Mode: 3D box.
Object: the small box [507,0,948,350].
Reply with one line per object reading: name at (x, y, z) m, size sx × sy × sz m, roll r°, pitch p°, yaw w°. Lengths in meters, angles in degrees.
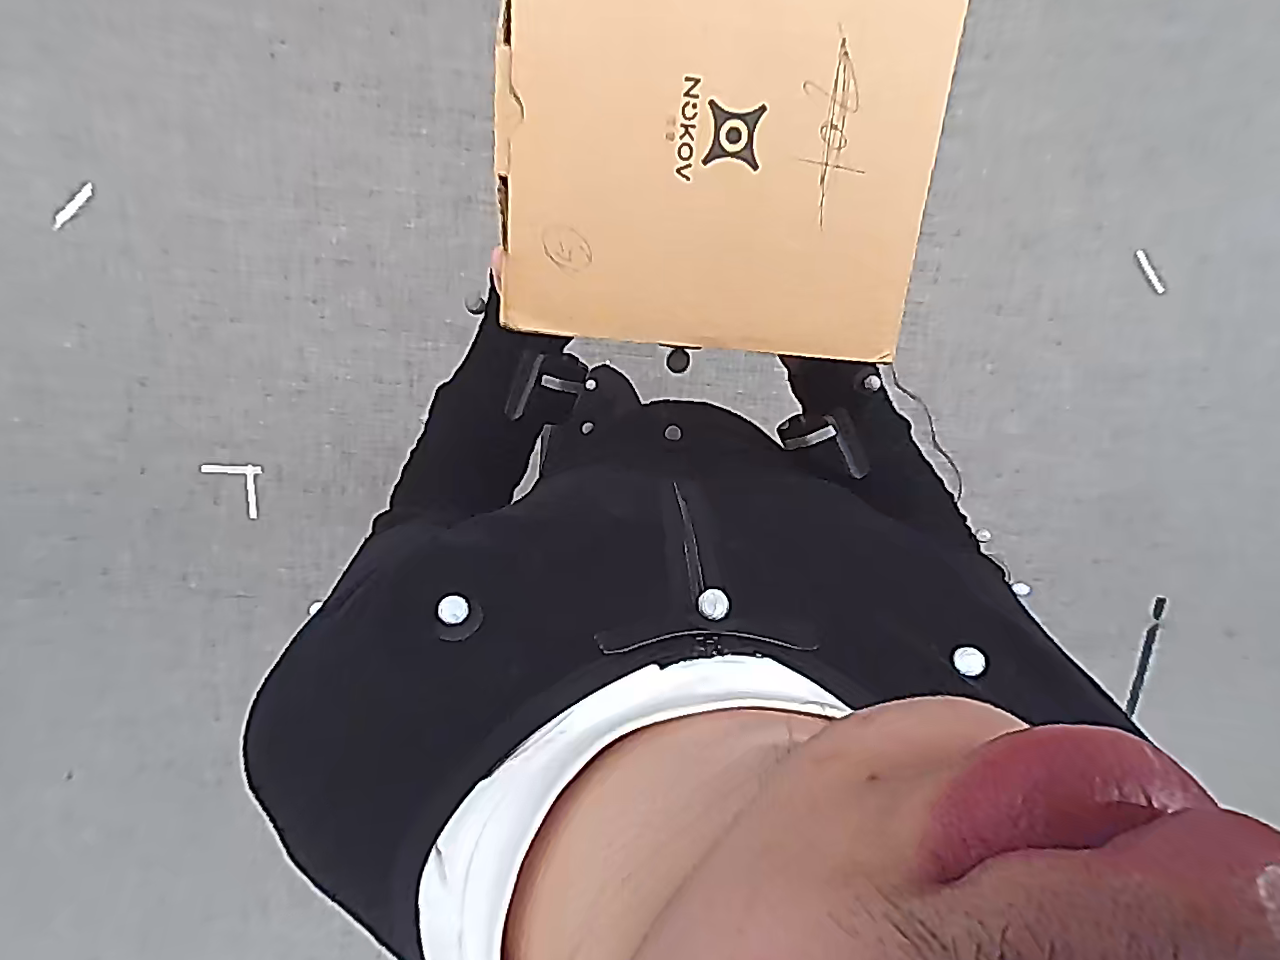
small box at (0.030, -0.165, 0.303) m, size 0.179 × 0.176 × 0.168 m, roll 2°, pitch 107°, yaw -4°
